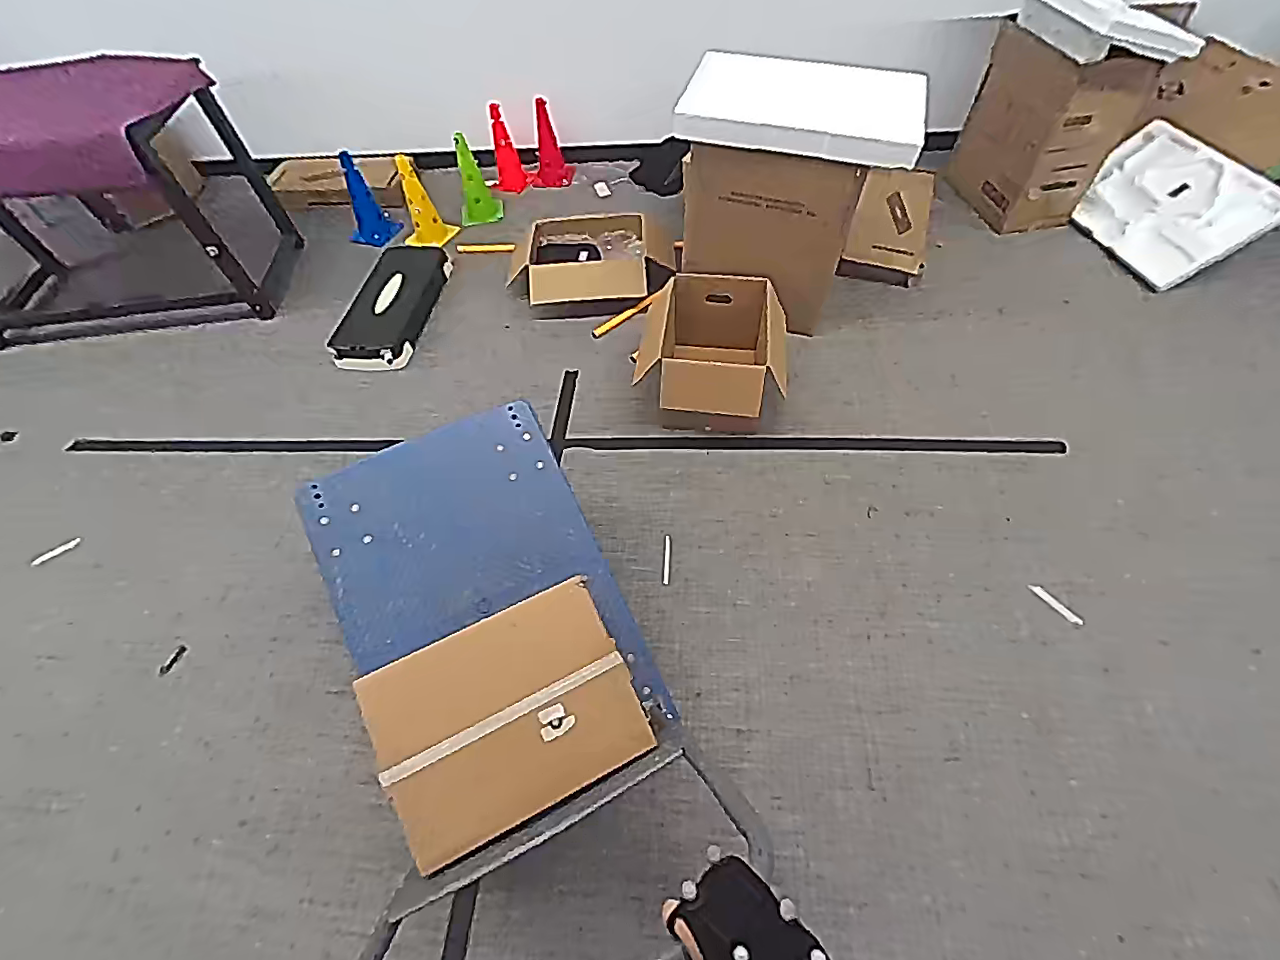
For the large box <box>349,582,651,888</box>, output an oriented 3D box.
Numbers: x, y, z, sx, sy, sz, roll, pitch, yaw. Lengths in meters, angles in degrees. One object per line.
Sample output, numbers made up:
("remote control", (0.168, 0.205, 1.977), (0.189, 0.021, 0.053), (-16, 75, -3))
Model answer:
("large box", (-0.241, 0.435, 1.013), (0.408, 0.320, 0.320), (-25, 79, -14))
